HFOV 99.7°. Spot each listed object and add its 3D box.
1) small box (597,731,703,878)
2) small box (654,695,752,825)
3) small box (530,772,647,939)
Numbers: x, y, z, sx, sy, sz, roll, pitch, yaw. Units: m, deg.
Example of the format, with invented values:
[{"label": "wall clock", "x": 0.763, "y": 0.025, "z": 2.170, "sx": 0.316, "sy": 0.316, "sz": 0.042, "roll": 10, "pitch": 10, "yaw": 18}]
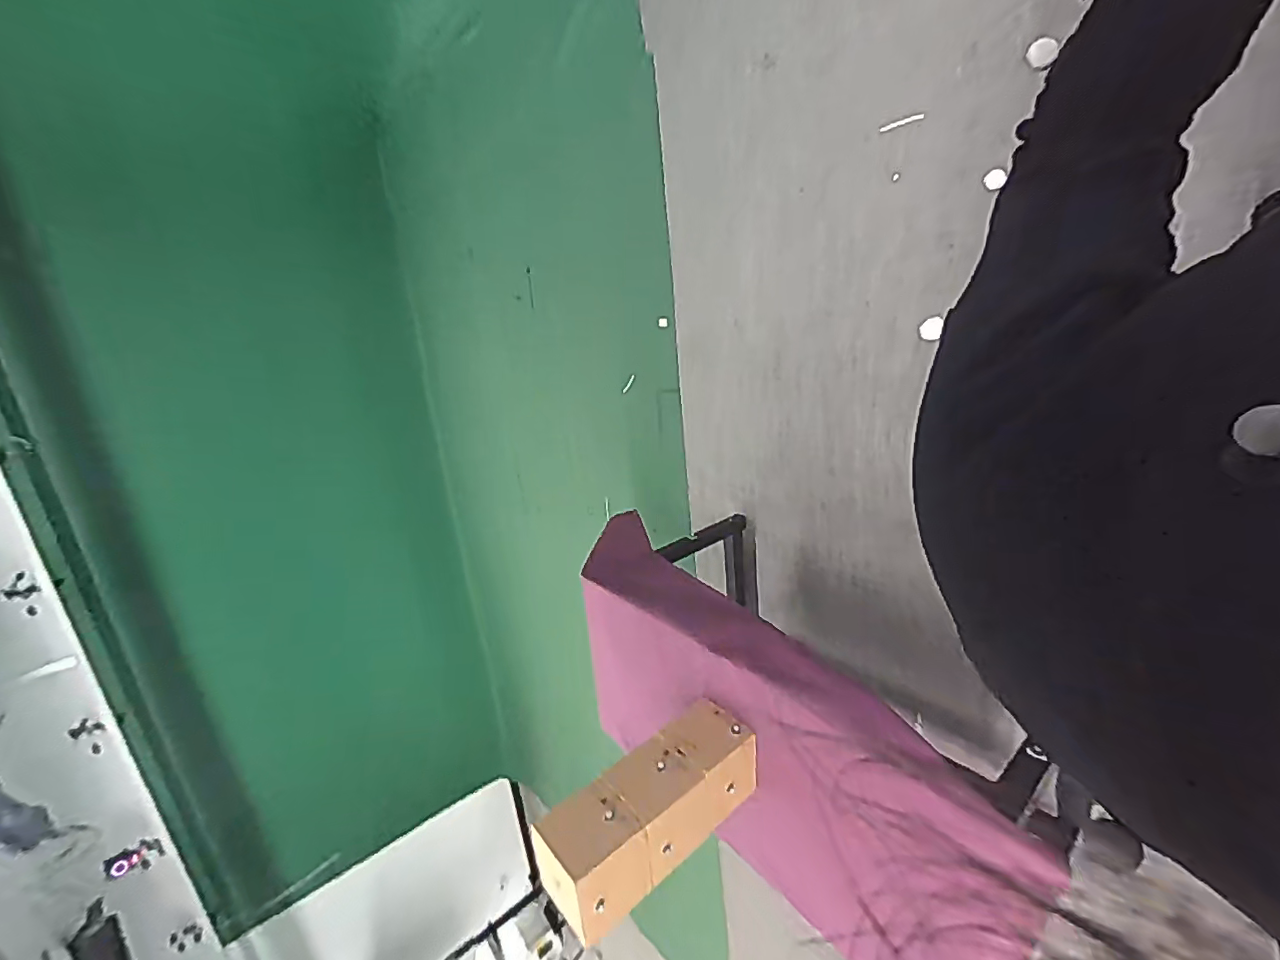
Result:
[{"label": "small box", "x": 0.026, "y": 0.698, "z": 1.182, "sx": 0.168, "sy": 0.176, "sz": 0.179, "roll": 18, "pitch": 118, "yaw": 48}, {"label": "small box", "x": 0.151, "y": 0.648, "z": 1.277, "sx": 0.168, "sy": 0.176, "sz": 0.179, "roll": 19, "pitch": 120, "yaw": 48}, {"label": "small box", "x": -0.100, "y": 0.743, "z": 1.089, "sx": 0.168, "sy": 0.176, "sz": 0.179, "roll": 17, "pitch": 118, "yaw": 48}]
